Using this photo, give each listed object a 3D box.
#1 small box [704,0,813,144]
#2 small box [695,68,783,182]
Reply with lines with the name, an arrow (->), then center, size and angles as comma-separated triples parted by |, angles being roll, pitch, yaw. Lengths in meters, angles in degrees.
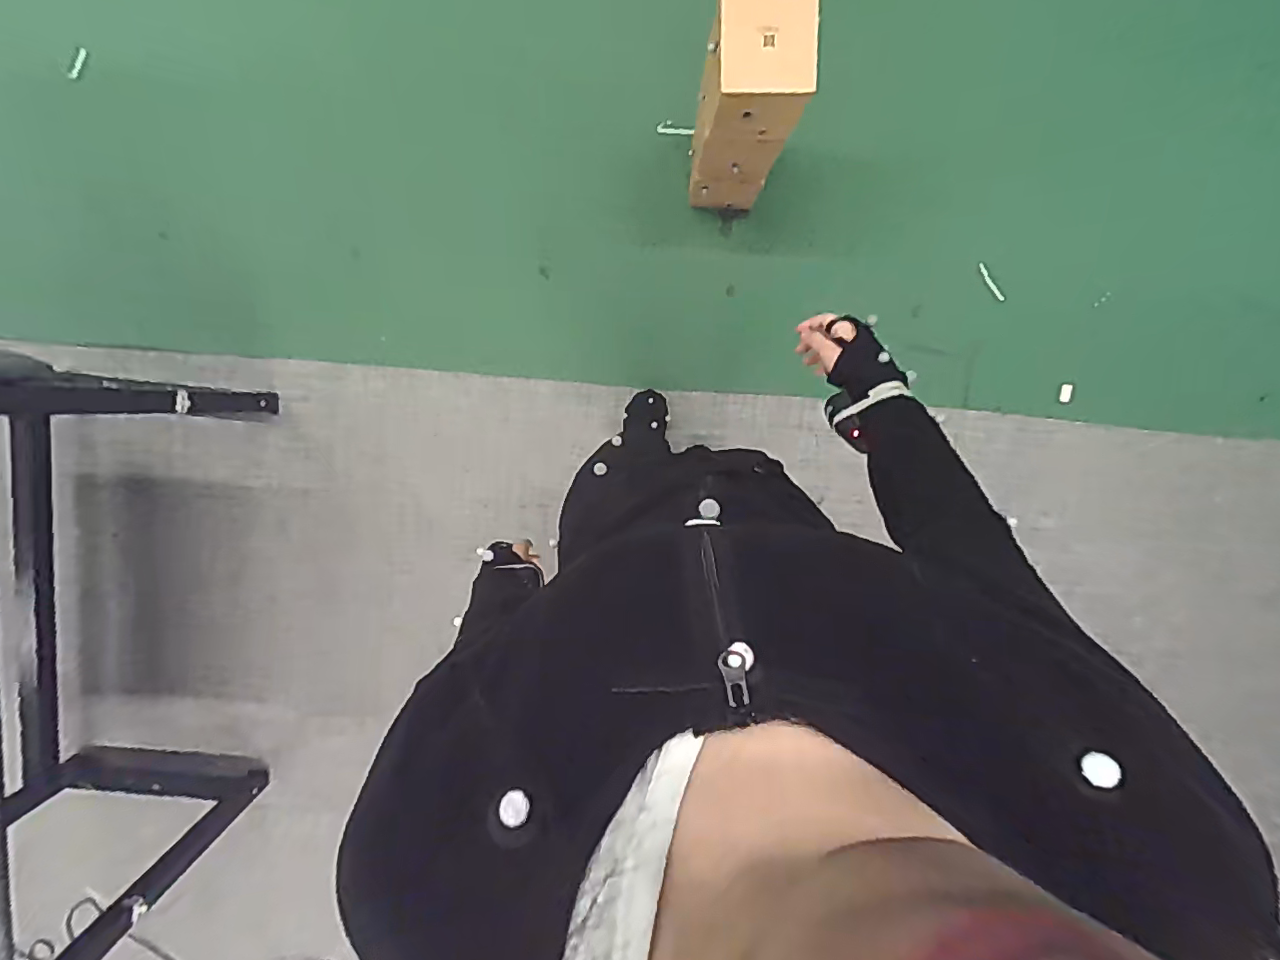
small box -> 0.212, -0.749, 0.999 | 0.168, 0.176, 0.179 | -1, 96, 0
small box -> 0.210, -0.771, 1.160 | 0.168, 0.176, 0.179 | 2, 96, 0
